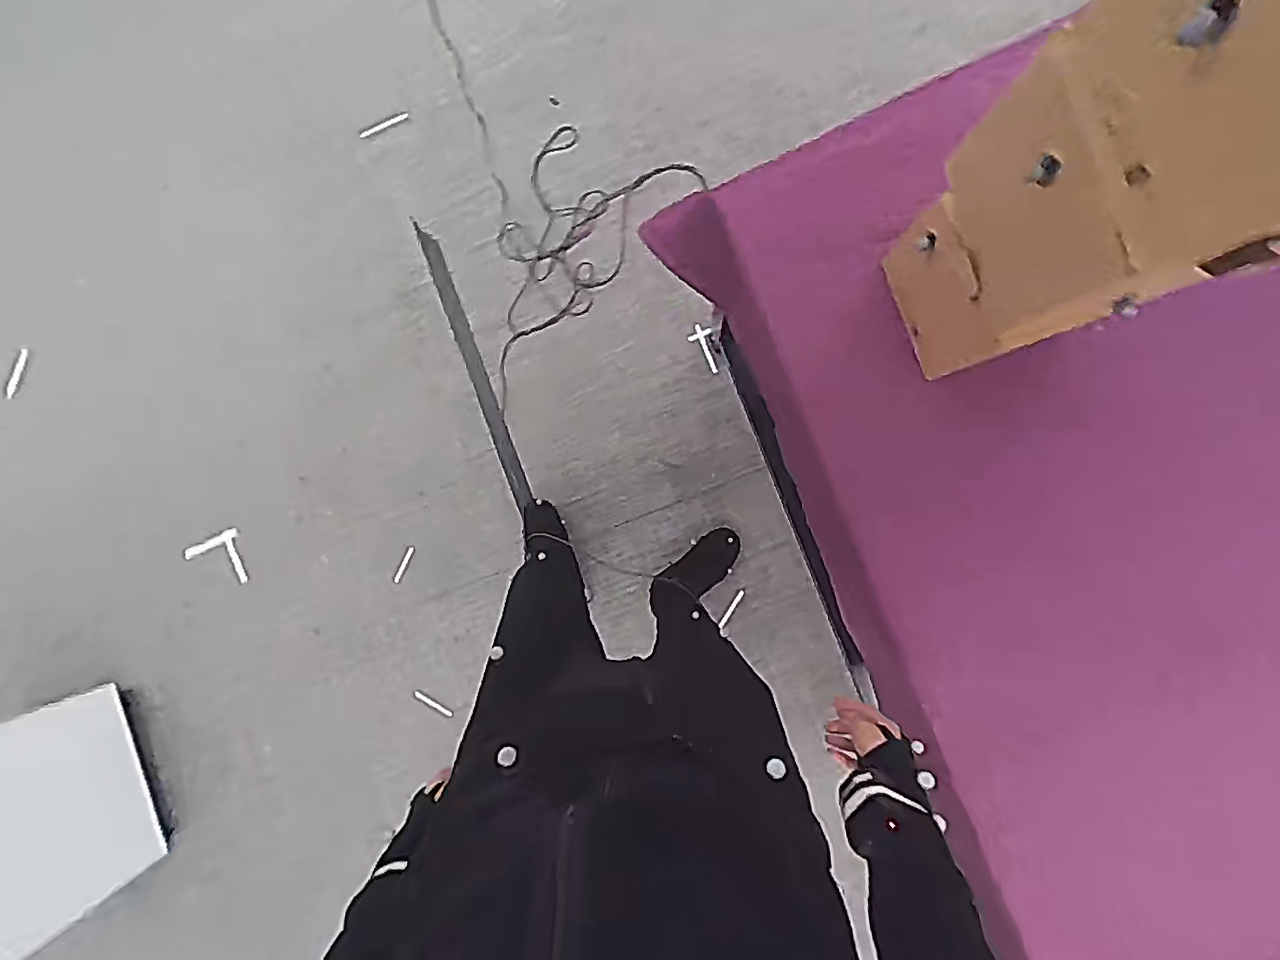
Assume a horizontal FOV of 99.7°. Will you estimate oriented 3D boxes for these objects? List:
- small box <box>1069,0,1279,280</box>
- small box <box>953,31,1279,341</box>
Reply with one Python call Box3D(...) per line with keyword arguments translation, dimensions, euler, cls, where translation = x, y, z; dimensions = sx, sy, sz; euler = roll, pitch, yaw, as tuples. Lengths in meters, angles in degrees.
Box3D(translation=(0.372, -0.230, 0.277), dimensions=(0.179, 0.176, 0.168), euler=(-20, 89, 4), cls="small box")
Box3D(translation=(0.388, -0.233, 0.439), dimensions=(0.168, 0.176, 0.179), euler=(-13, 89, 5), cls="small box")
